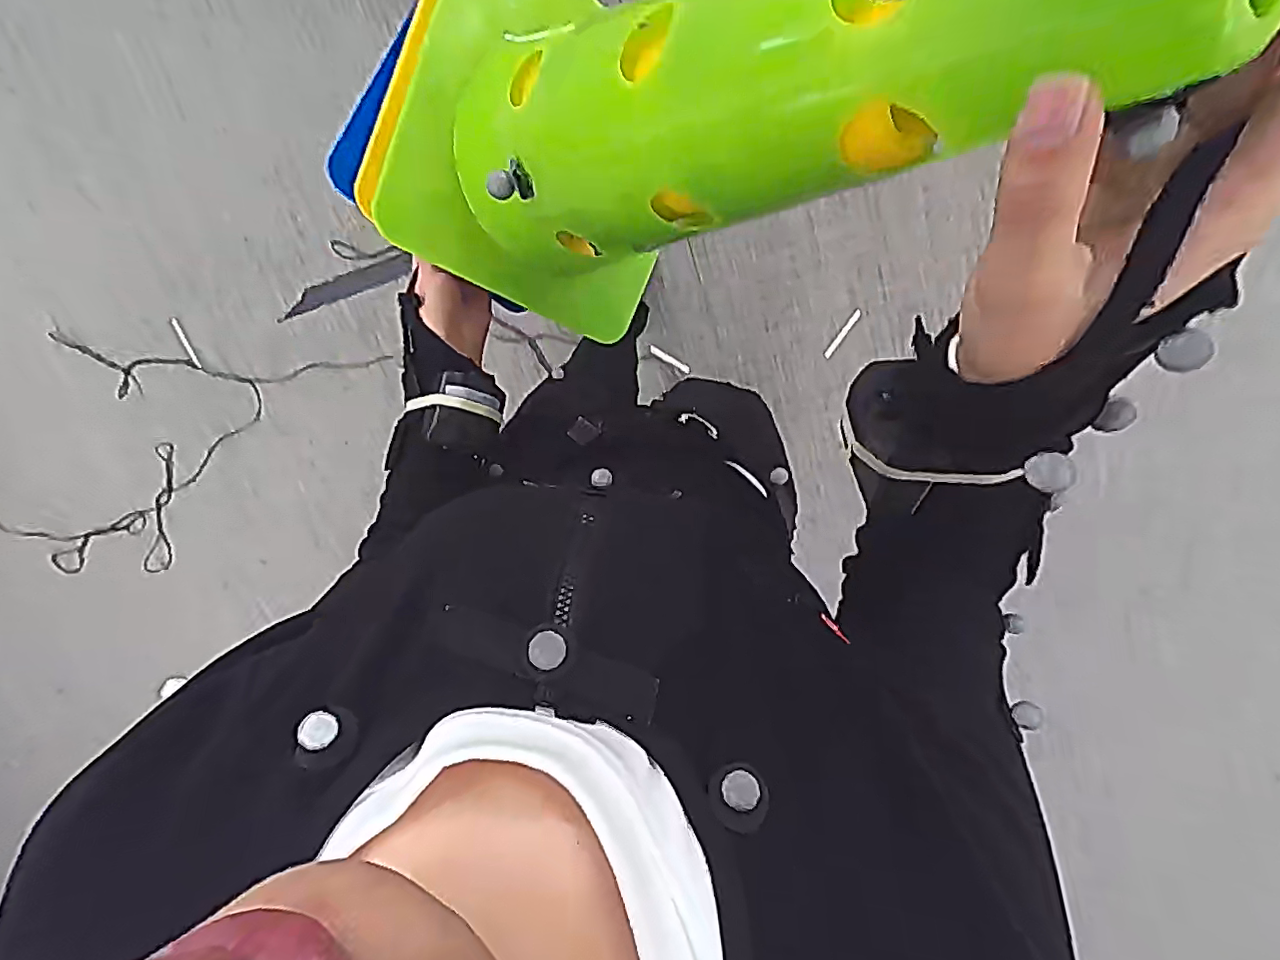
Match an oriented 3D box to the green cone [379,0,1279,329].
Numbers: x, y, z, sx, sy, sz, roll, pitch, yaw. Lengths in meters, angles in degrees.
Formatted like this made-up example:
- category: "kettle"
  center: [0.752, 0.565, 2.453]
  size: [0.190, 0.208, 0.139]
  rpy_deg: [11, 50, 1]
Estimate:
- category: "green cone"
  center: [0.033, -0.167, 0.231]
  size: [0.200, 0.368, 0.202]
  rpy_deg: [17, 102, -35]
